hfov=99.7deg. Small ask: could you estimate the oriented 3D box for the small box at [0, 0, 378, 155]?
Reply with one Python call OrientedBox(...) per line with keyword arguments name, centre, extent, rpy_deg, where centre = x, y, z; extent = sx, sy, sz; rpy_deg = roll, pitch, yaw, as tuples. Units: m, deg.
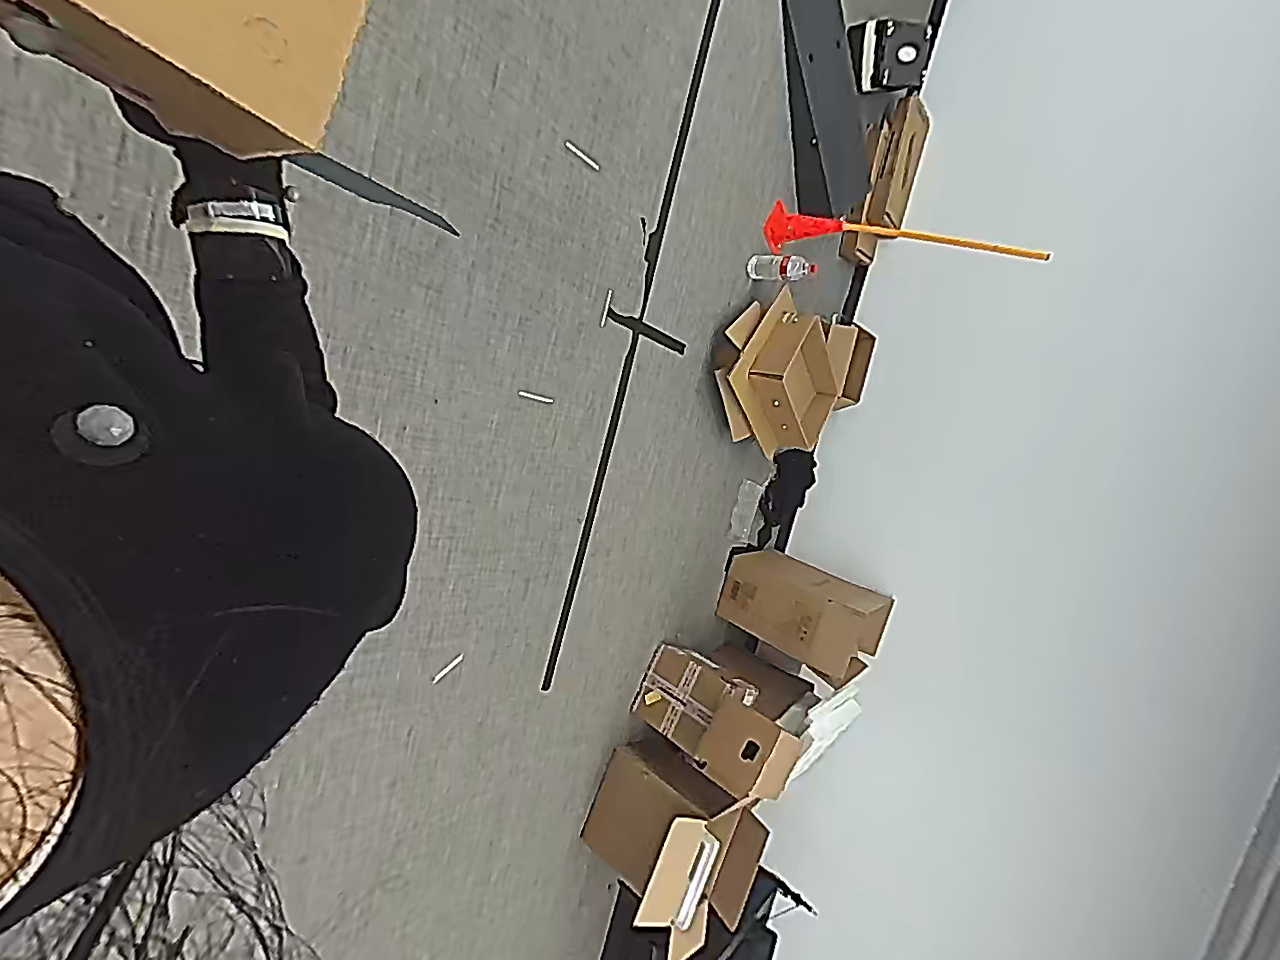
OrientedBox(name="small box", centre=(-0.247, -0.300, 0.280), extent=(0.168, 0.176, 0.179), rpy_deg=(17, 96, -51))
